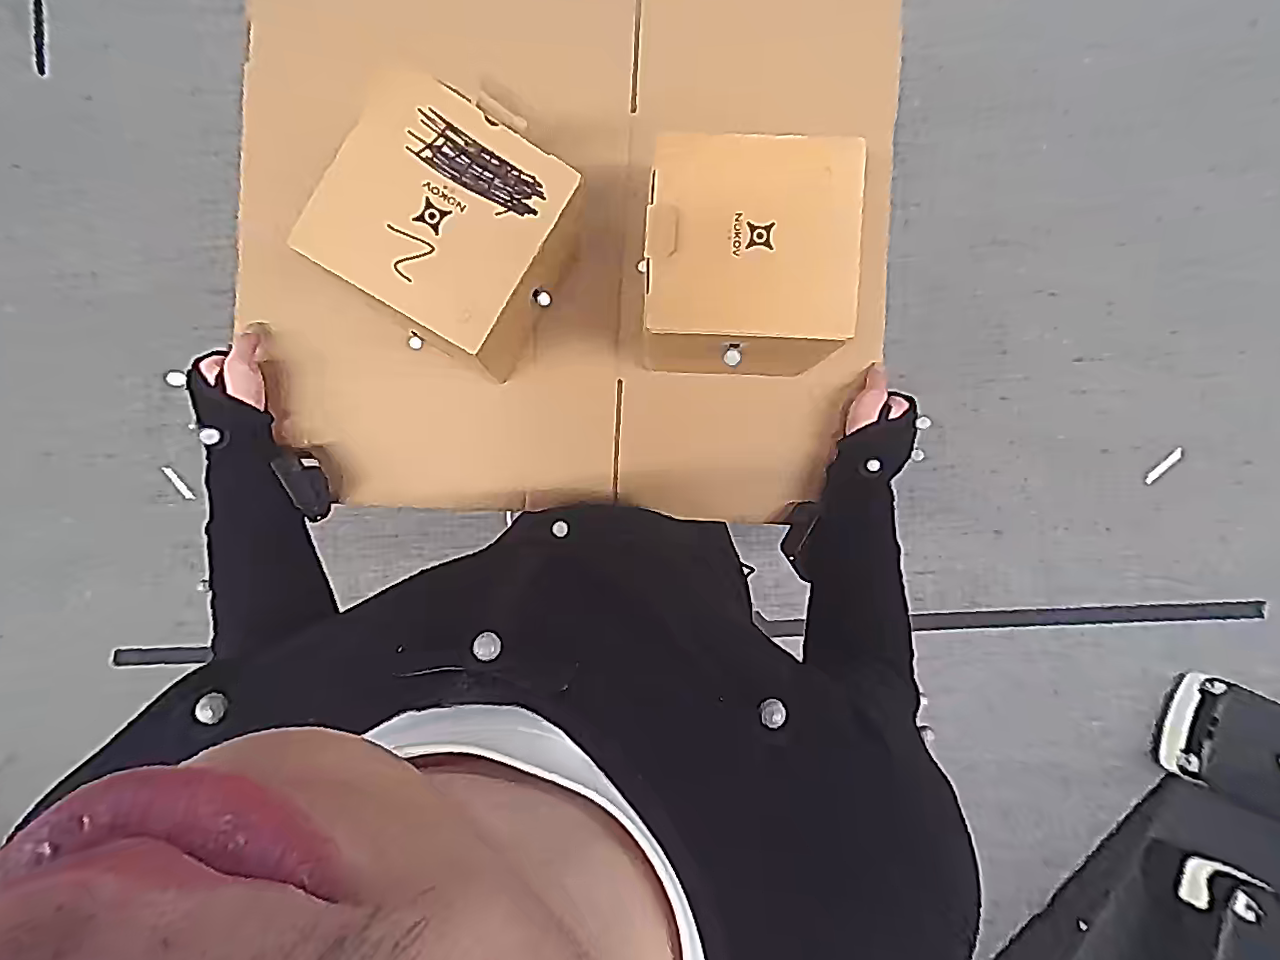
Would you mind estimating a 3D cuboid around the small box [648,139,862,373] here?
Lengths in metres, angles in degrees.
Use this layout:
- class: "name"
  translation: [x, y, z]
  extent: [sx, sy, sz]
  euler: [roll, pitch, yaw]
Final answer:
- class: "small box"
  translation: [0.100, -0.205, 0.540]
  extent: [0.179, 0.176, 0.168]
  euler: [3, 91, 2]
